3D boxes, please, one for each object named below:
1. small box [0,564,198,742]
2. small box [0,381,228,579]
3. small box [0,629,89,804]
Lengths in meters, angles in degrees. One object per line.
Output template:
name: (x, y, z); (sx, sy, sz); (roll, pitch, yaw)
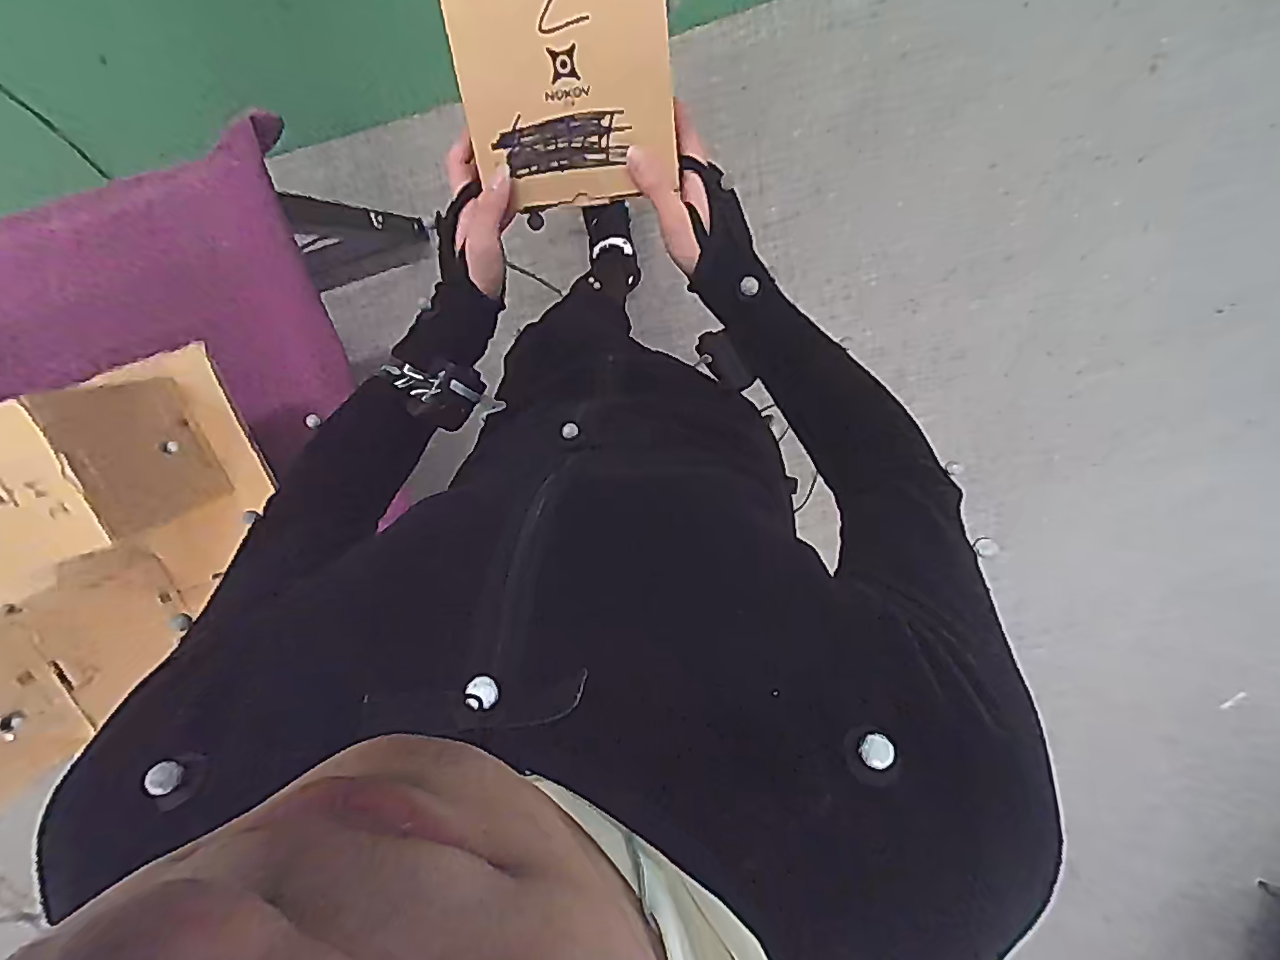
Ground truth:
small box: (-0.740, 0.230, 0.710); (0.179, 0.176, 0.168); (-16, 105, 8)
small box: (-0.648, -0.006, 0.631); (0.179, 0.176, 0.168); (-15, 107, 7)
small box: (-0.756, 0.282, 0.557); (0.179, 0.176, 0.168); (-17, 105, 7)
